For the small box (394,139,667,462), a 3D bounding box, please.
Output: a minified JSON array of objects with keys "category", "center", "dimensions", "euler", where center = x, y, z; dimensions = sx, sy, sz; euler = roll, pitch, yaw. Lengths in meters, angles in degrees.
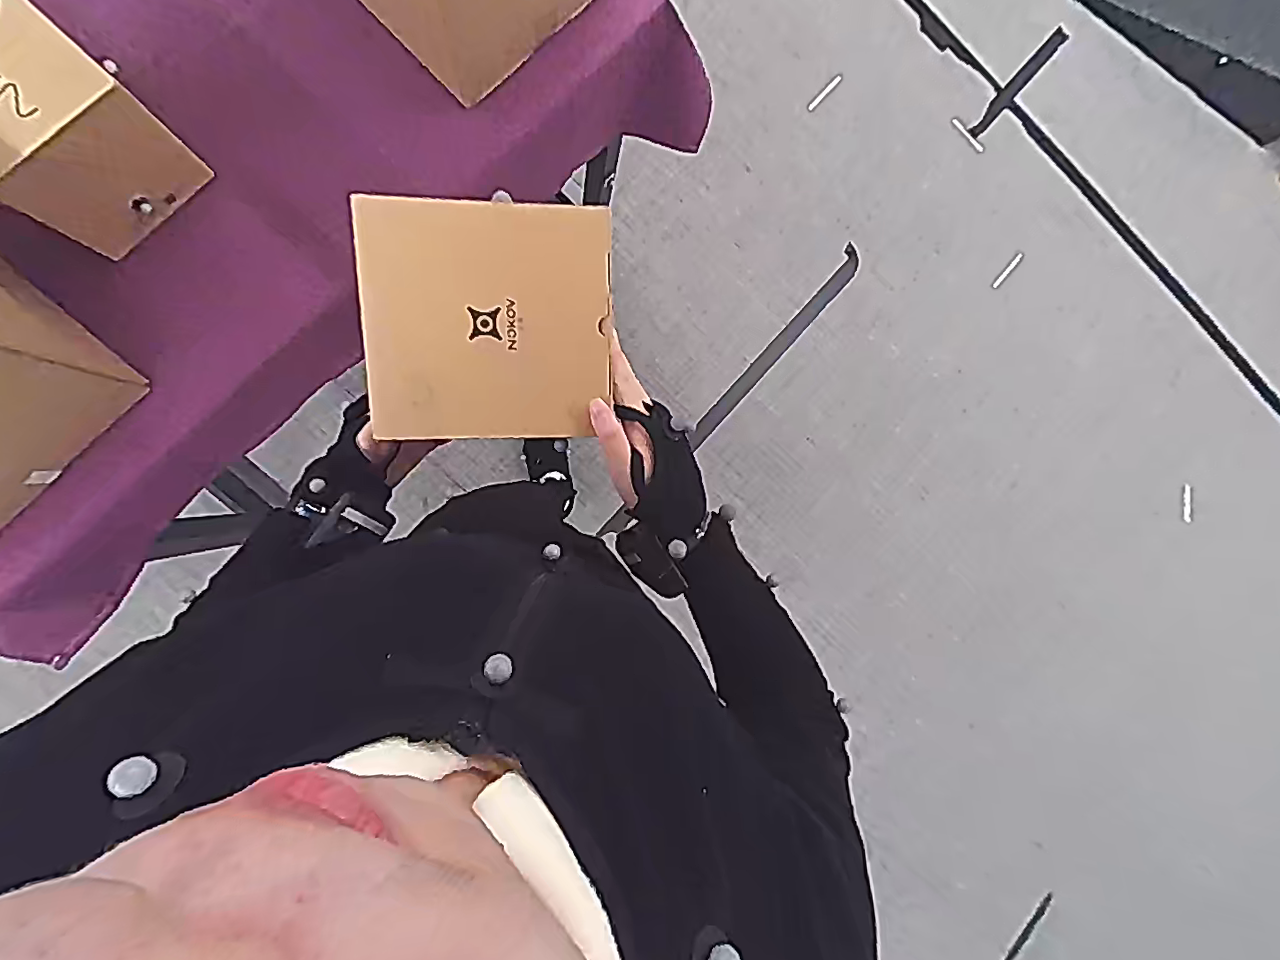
[{"category":"small box","center":[-0.094,-0.121,0.426],"dimensions":[0.168,0.176,0.179],"euler":[-7,84,-27]}]
